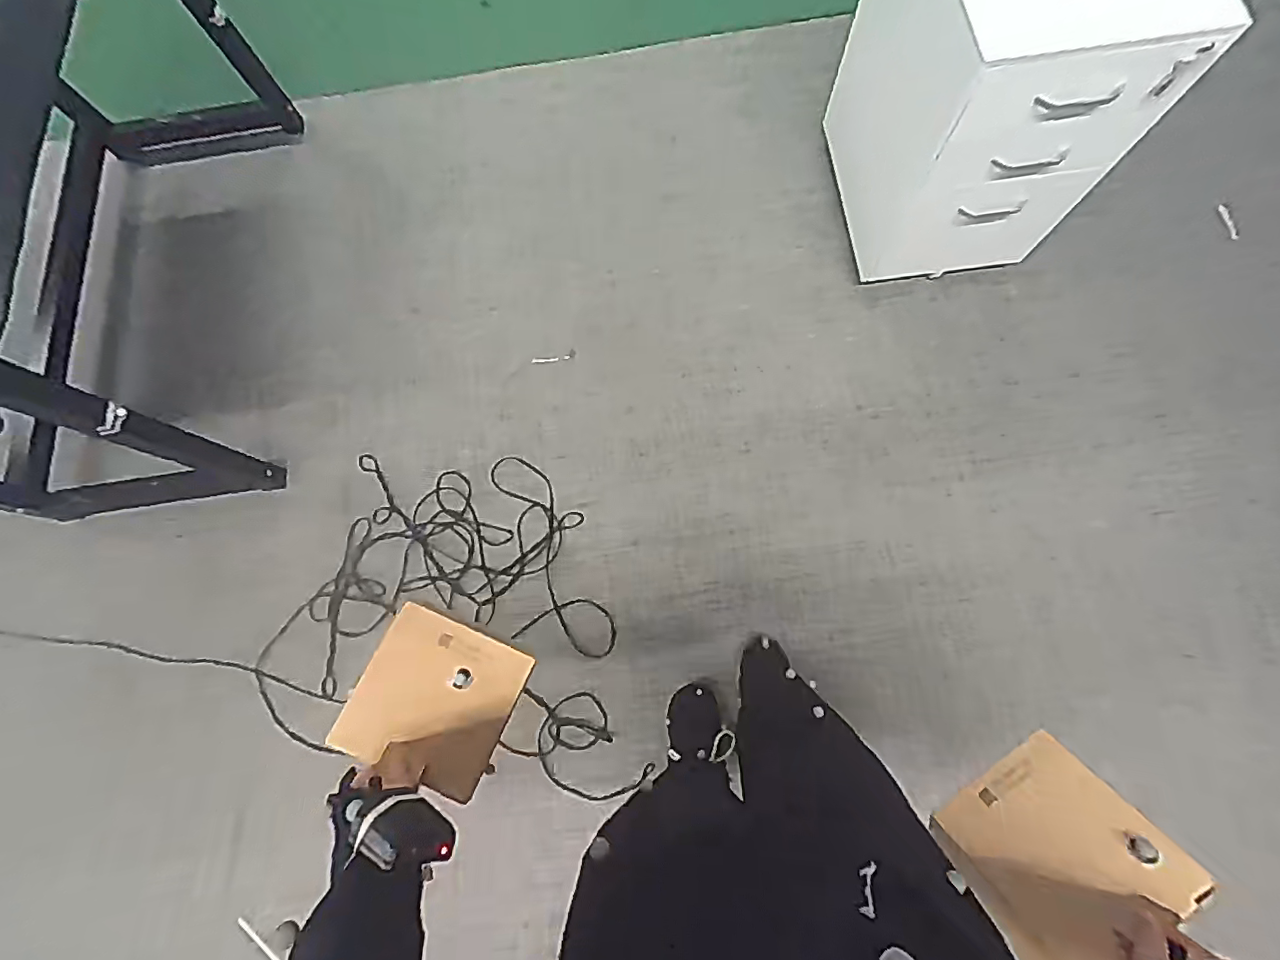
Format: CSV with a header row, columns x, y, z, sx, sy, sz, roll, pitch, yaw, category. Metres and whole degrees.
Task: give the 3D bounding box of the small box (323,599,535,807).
x,y,z,sx,sy,sz,roll,pitch,yaw,category
-0.244,0.258,0.672,0.168,0.179,0.176,28,74,-7,small box
